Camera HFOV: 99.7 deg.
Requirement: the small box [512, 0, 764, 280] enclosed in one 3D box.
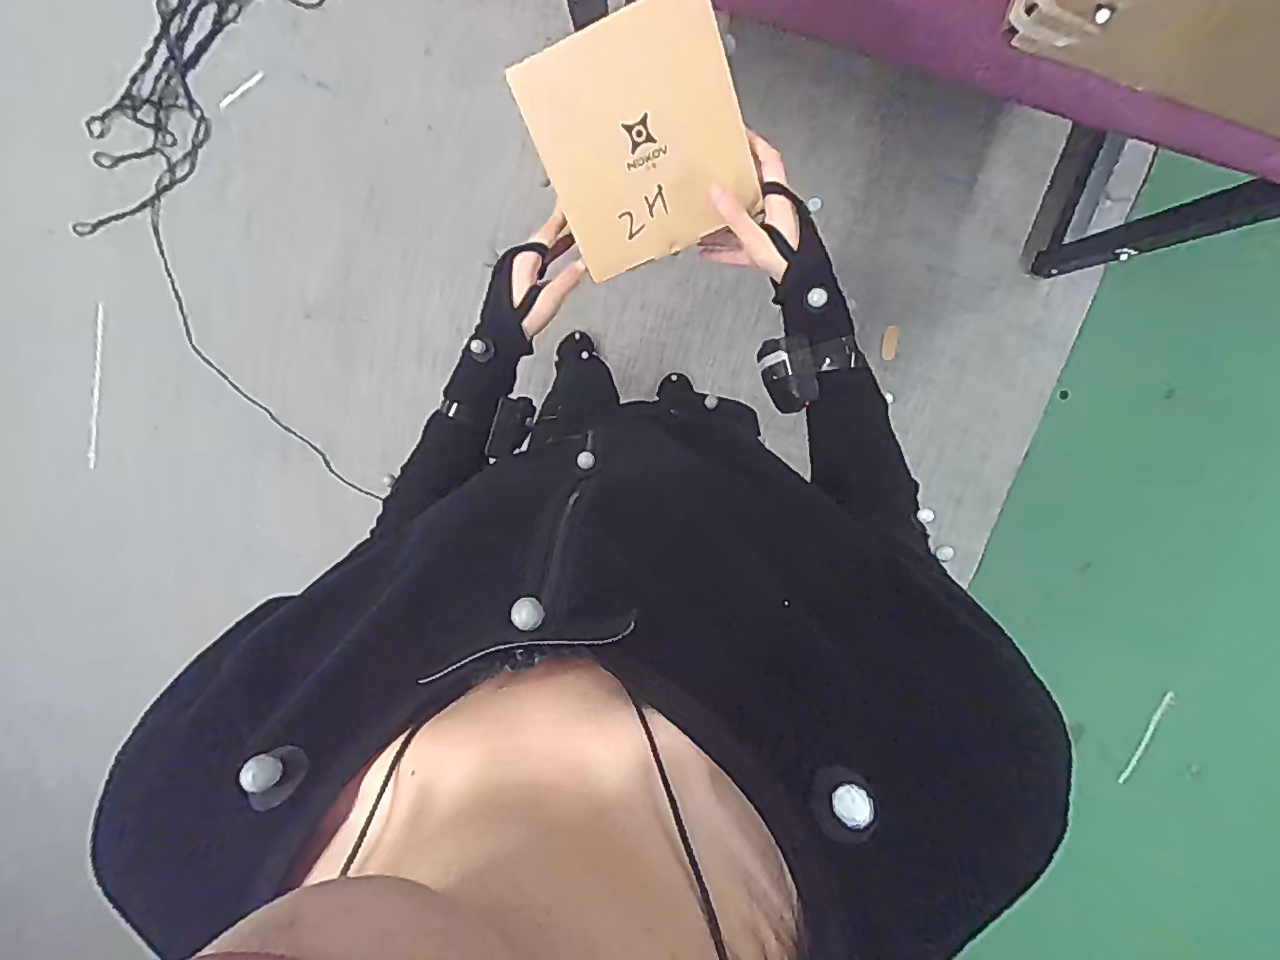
[{"bbox_3d":[0.002,-0.314,0.514,0.168,0.176,0.179,-19,118,10],"label":"small box"}]
